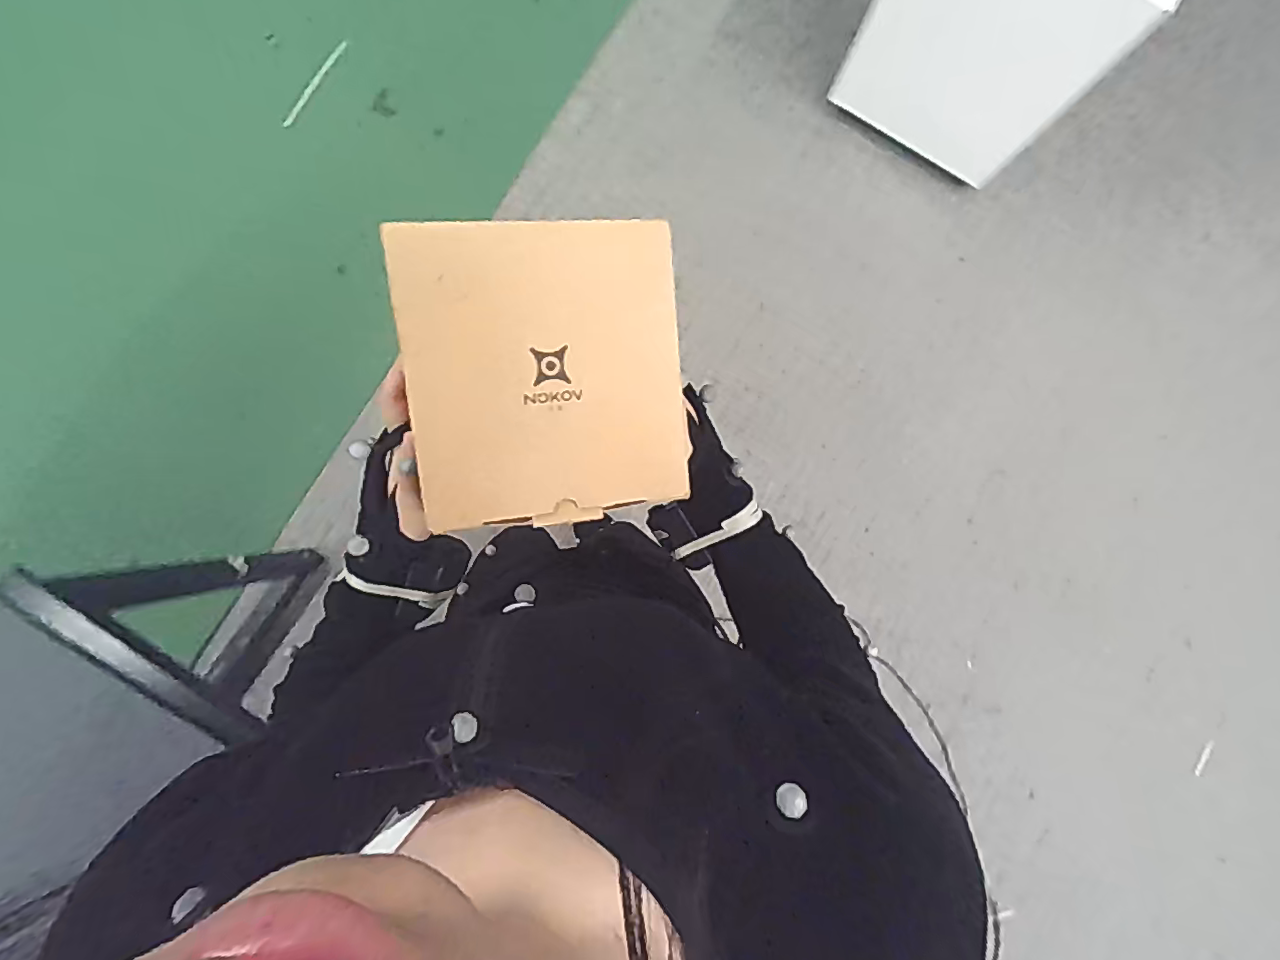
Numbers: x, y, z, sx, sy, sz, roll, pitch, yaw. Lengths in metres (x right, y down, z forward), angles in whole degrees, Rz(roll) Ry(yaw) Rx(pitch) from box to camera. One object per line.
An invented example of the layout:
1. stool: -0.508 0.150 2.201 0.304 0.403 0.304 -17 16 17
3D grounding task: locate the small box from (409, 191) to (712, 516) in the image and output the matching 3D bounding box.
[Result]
1. small box: -0.059 -0.082 0.388 0.168 0.176 0.179 -6 99 -14

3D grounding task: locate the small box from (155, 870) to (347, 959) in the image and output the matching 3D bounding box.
1. small box: -0.496 0.634 0.649 0.168 0.176 0.179 30 87 0
